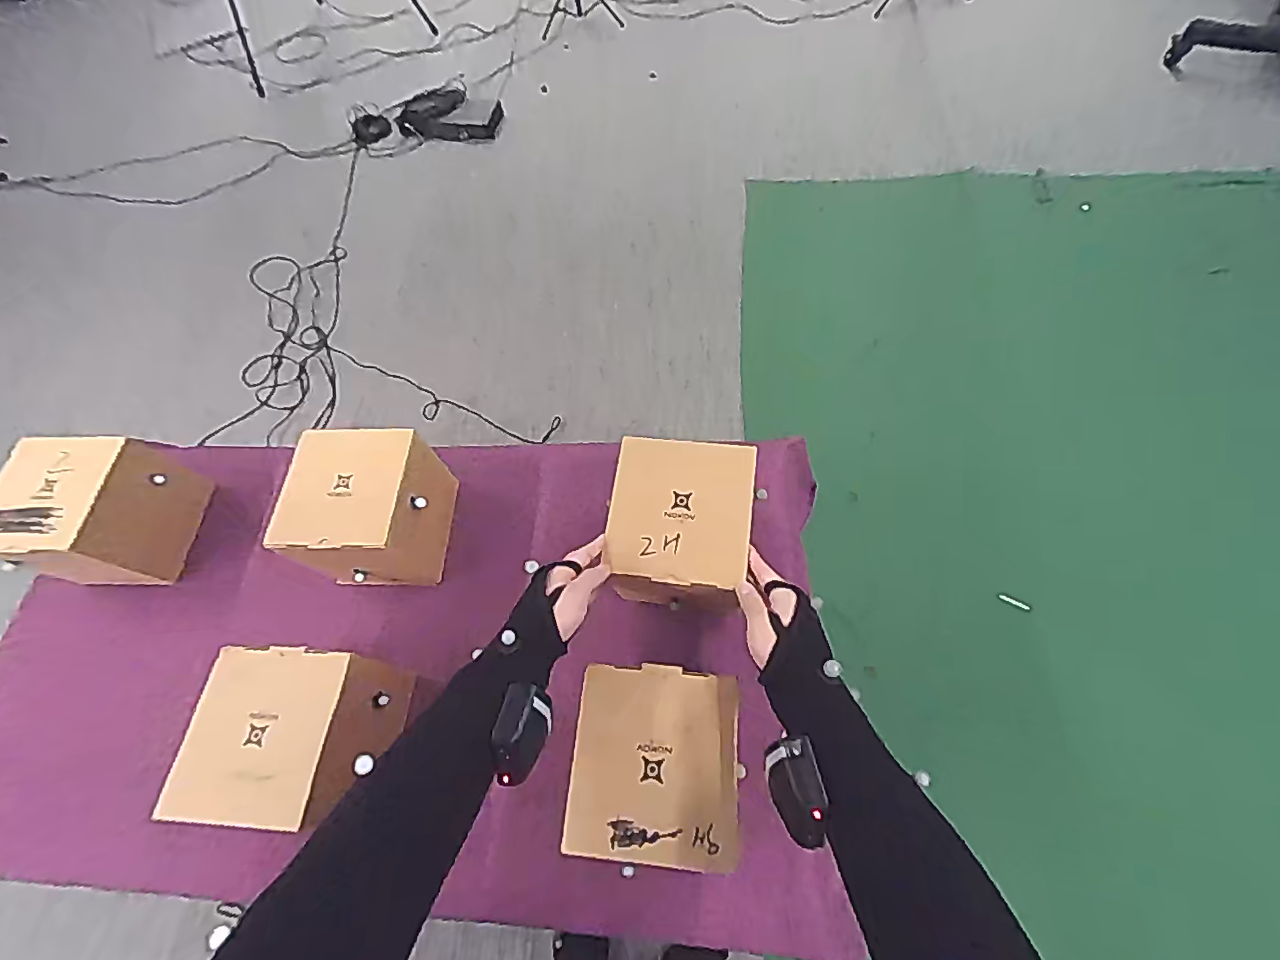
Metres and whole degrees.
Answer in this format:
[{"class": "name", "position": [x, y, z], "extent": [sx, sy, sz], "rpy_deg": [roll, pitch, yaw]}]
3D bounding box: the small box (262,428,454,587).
[{"class": "small box", "position": [-0.385, 0.043, 0.779], "extent": [0.168, 0.176, 0.179], "rpy_deg": [1, 64, 4]}]

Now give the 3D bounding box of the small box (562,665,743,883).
[{"class": "small box", "position": [0.023, 0.320, 0.600], "extent": [0.168, 0.176, 0.179], "rpy_deg": [3, 60, 7]}]

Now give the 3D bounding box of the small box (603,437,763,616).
[{"class": "small box", "position": [0.061, 0.065, 0.695], "extent": [0.168, 0.176, 0.179], "rpy_deg": [6, 69, 11]}]

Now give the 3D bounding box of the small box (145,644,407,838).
[{"class": "small box", "position": [-0.404, 0.306, 0.642], "extent": [0.168, 0.176, 0.179], "rpy_deg": [2, 62, 6]}]
